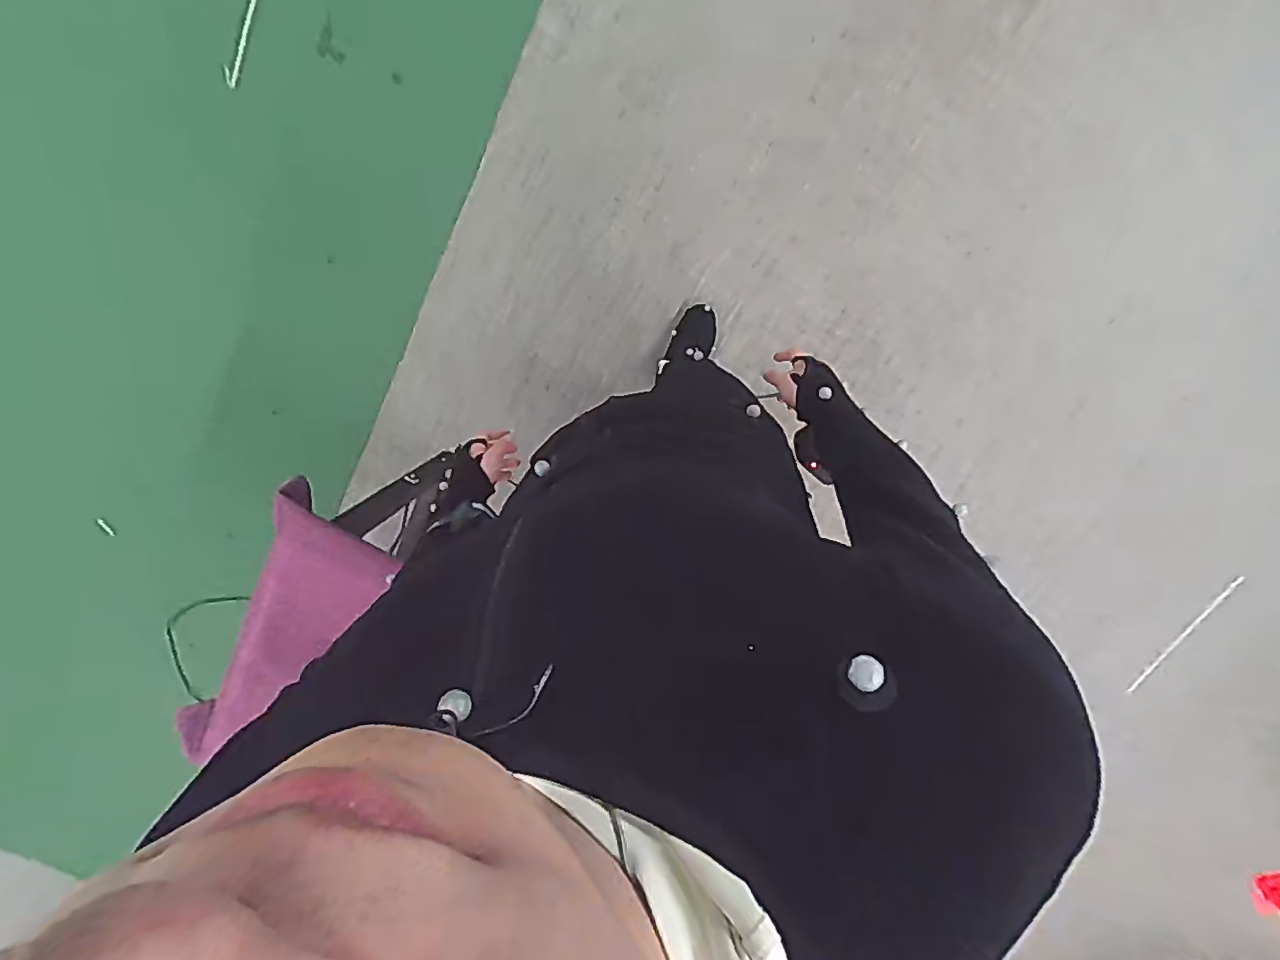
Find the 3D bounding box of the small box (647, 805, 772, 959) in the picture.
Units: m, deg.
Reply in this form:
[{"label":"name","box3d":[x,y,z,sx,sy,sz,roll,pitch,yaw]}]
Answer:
[{"label":"small box","box3d":[0.128,0.771,1.027,0.168,0.176,0.179,25,107,-4]}]

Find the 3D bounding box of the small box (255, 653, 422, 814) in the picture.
[{"label":"small box","box3d":[-0.531,0.441,0.972,0.179,0.176,0.168,28,106,-5]}]
